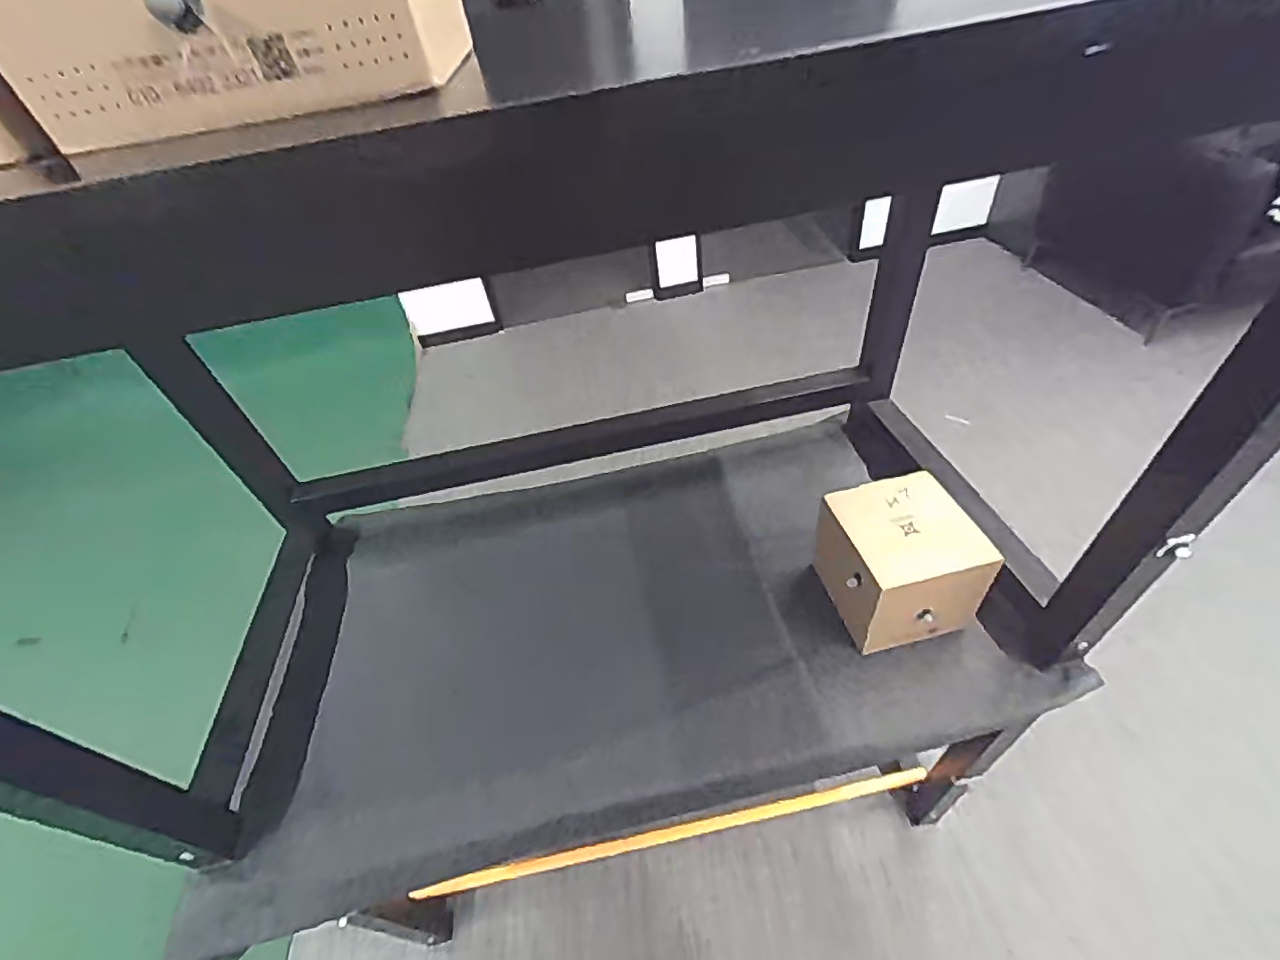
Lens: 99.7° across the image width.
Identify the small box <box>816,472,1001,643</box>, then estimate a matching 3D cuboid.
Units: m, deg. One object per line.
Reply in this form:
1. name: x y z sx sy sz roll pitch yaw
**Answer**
1. small box: 0.376 0.120 0.795 0.168 0.176 0.179 -13 43 -3
